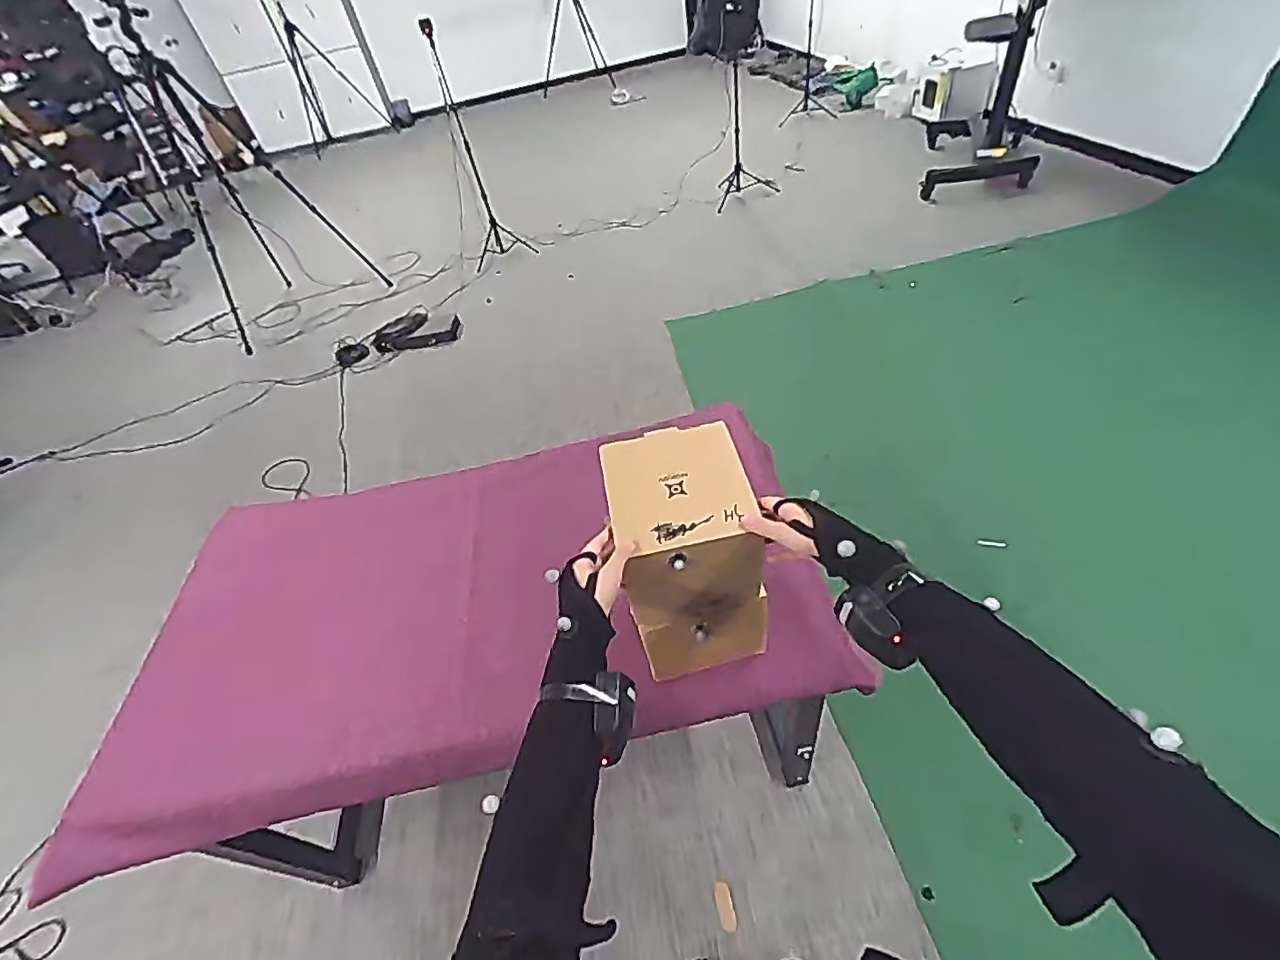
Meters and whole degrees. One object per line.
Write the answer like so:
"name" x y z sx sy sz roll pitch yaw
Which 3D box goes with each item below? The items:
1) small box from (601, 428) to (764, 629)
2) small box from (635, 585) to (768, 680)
"small box" 0.053 0.064 0.698 0.168 0.176 0.179 -13 49 0
"small box" 0.083 0.177 0.820 0.179 0.176 0.168 -16 47 0
